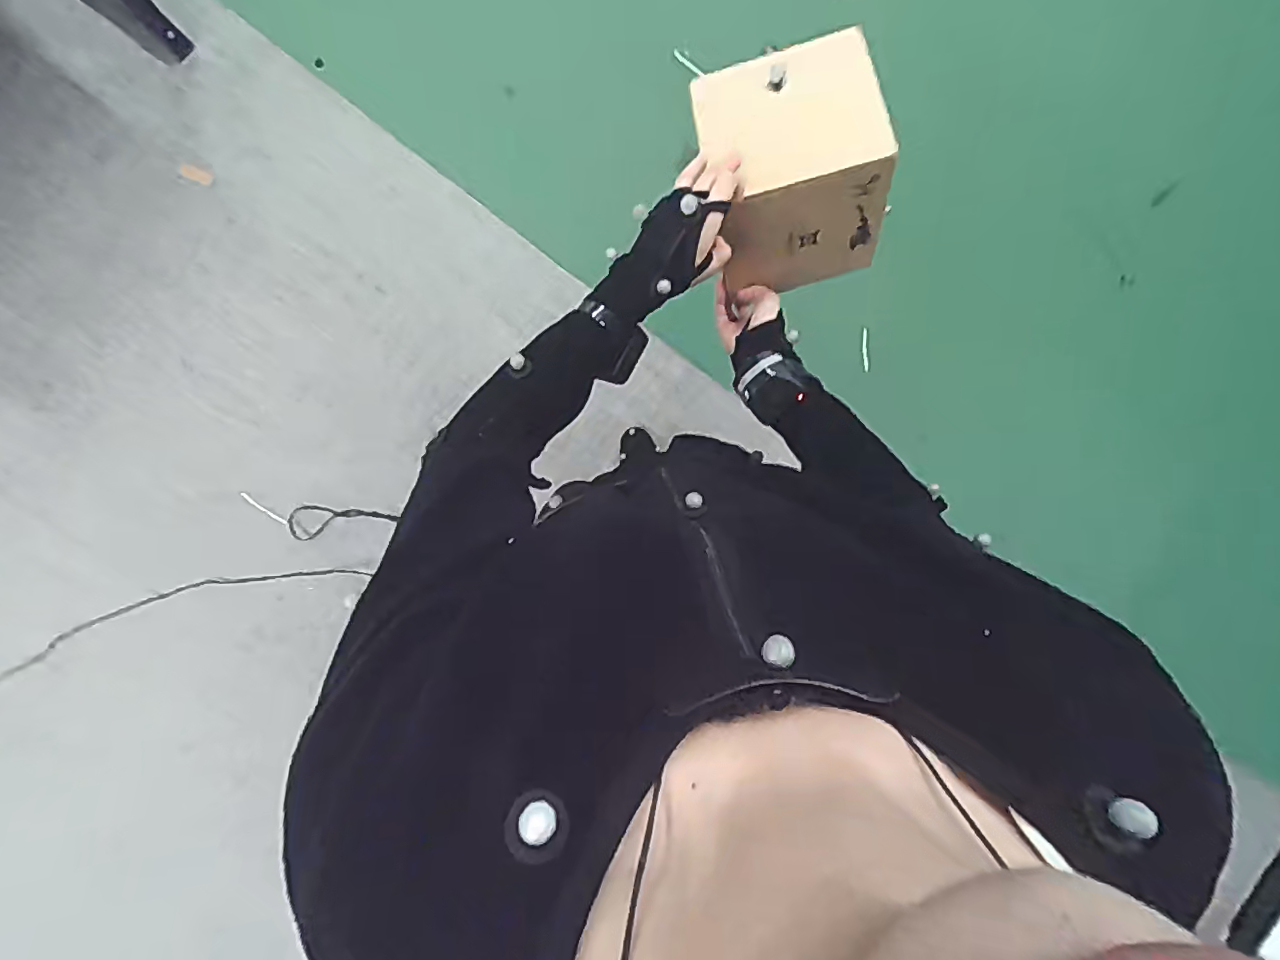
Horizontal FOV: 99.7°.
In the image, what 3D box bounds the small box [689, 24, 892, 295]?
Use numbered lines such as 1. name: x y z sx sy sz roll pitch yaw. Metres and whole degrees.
1. small box: 0.155 -0.341 0.599 0.179 0.168 0.176 -11 72 13
